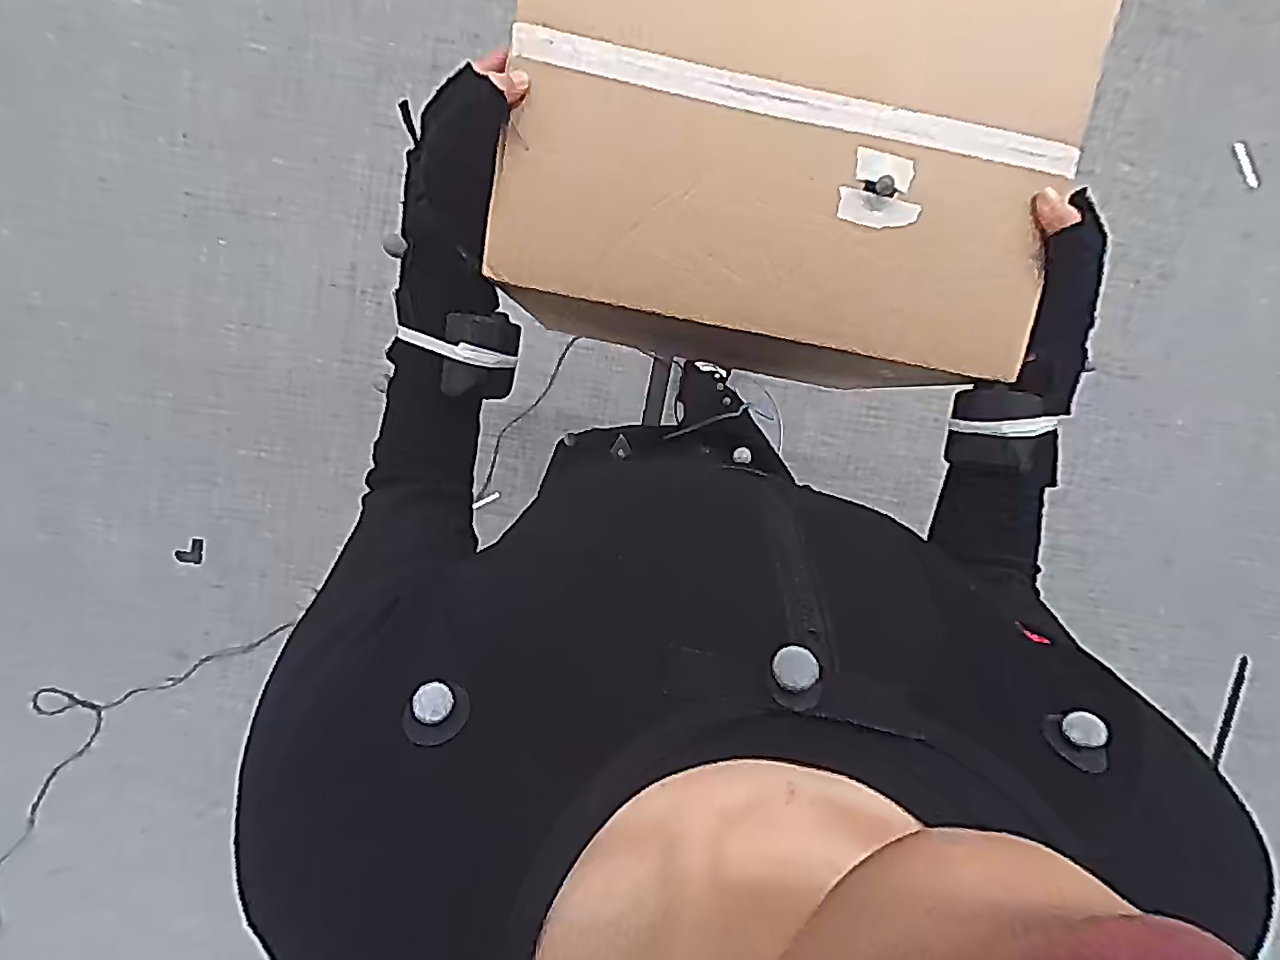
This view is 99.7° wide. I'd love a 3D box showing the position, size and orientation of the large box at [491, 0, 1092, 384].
[{"bbox_3d":[0.100,-0.284,0.536,0.408,0.320,0.320,10,99,-4],"label":"large box"}]
